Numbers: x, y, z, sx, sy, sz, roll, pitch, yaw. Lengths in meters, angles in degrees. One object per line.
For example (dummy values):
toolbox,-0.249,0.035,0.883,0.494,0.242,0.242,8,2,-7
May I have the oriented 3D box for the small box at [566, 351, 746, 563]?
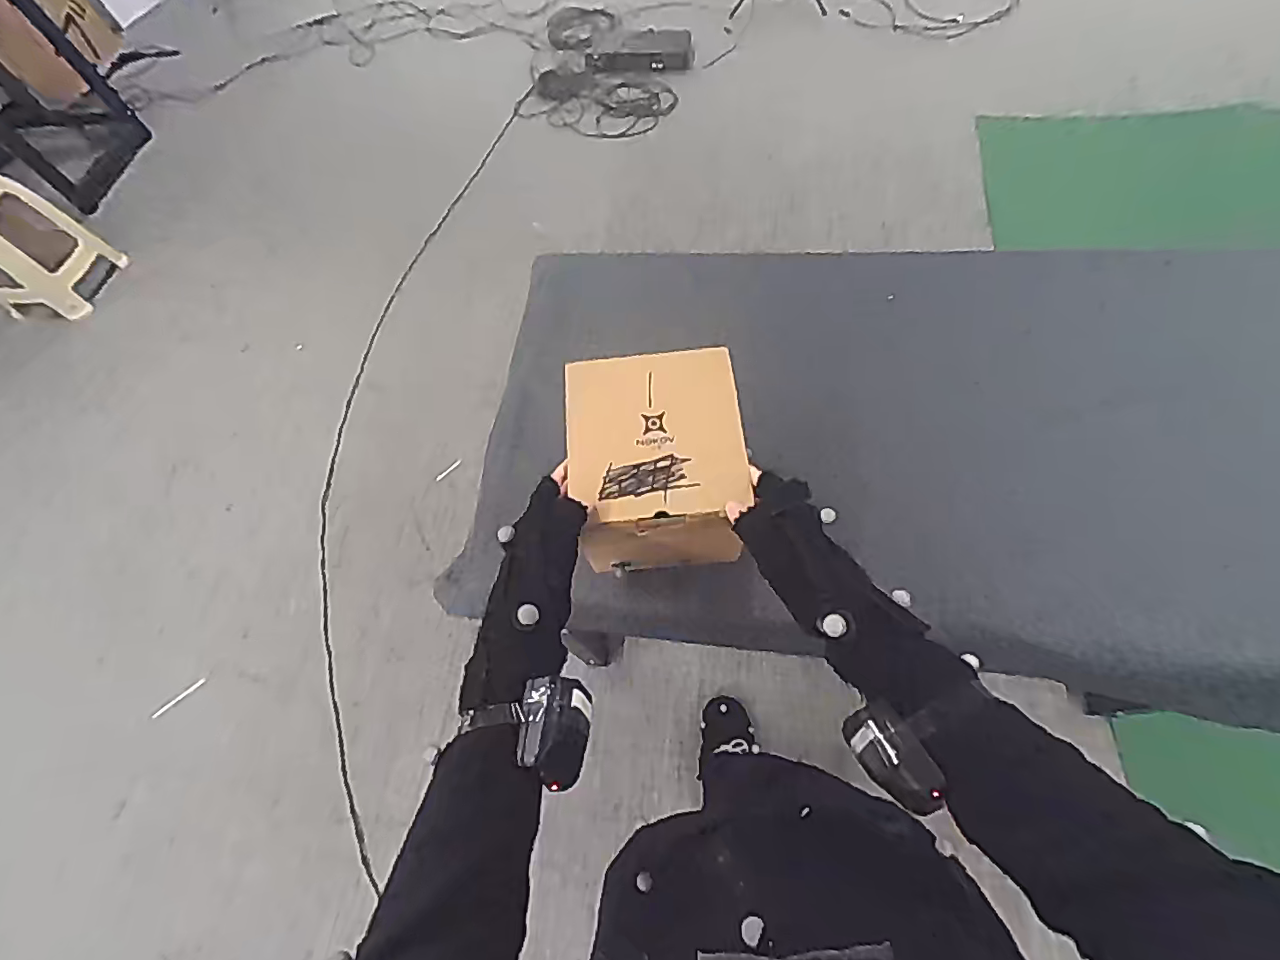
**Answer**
small box,0.017,-0.013,0.588,0.168,0.176,0.179,-5,65,2
